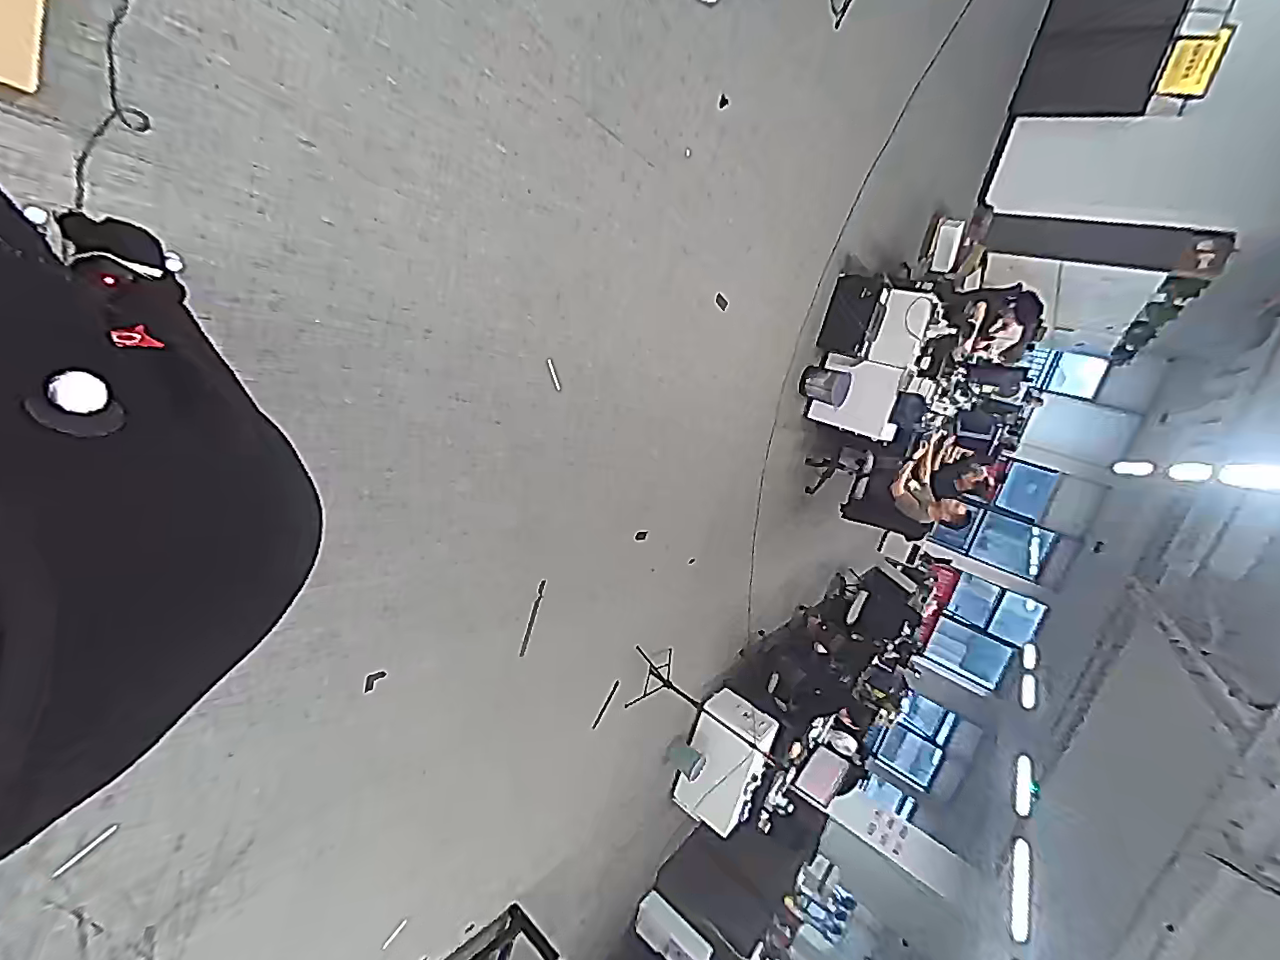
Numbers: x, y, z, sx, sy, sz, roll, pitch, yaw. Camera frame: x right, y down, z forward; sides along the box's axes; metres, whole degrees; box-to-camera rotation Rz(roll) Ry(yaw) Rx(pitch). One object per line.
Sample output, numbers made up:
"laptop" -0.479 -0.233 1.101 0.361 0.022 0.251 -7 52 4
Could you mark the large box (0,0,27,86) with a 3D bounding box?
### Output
"large box" -1.012 -0.725 0.615 0.408 0.320 0.320 2 108 -55
